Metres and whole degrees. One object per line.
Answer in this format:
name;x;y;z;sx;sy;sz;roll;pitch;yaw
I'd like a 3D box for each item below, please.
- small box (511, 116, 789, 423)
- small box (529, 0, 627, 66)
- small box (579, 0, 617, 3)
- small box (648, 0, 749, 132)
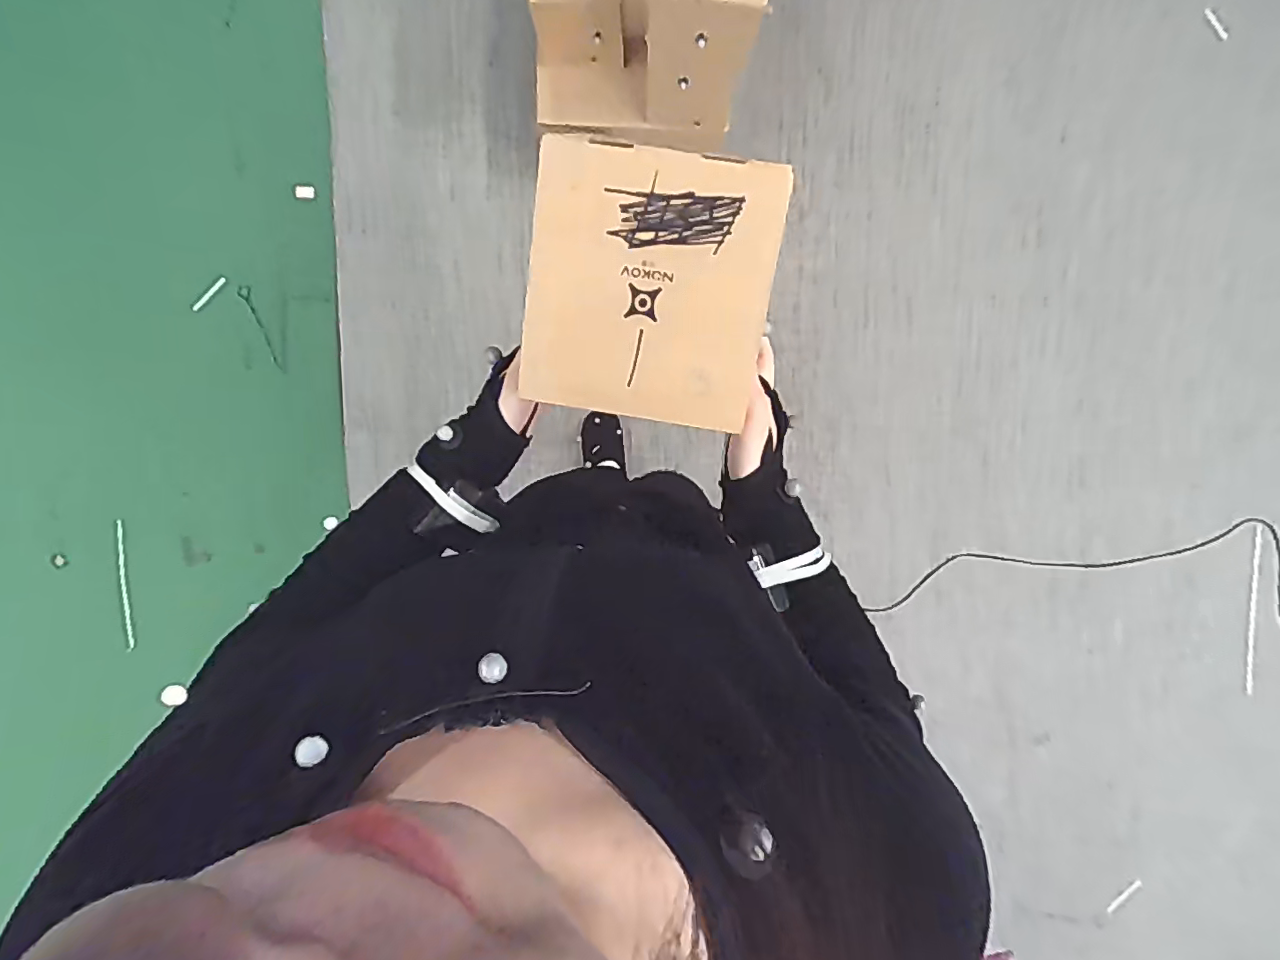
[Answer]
small box;0.008;-0.155;0.441;0.168;0.176;0.179;11;104;3
small box;-0.109;-0.924;1.018;0.168;0.176;0.179;3;93;0
small box;-0.105;-0.916;0.855;0.168;0.176;0.179;2;94;0
small box;0.104;-0.804;1.023;0.168;0.176;0.179;5;93;-1
